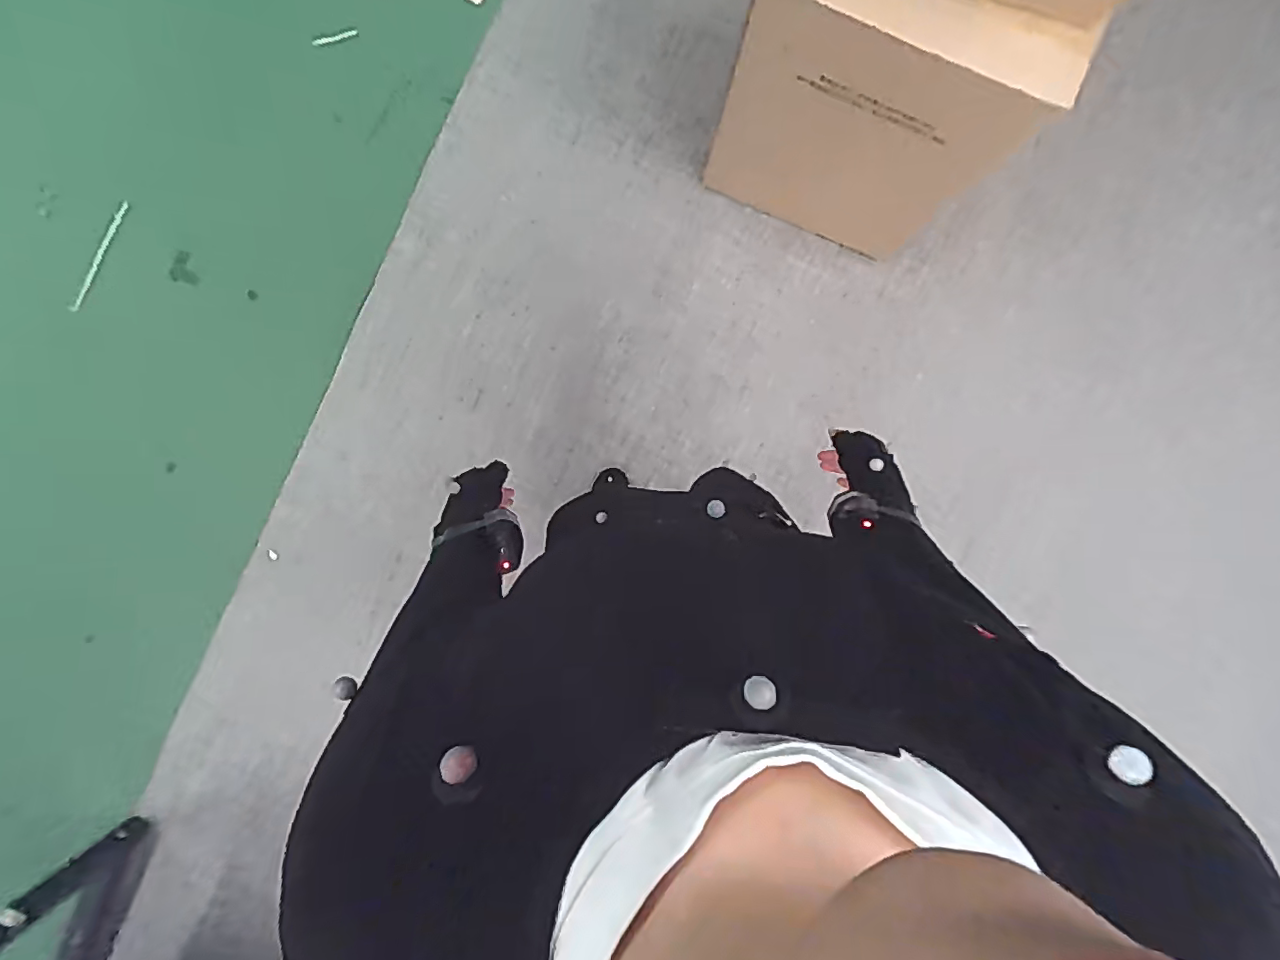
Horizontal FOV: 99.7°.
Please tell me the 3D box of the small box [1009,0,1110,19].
[{"bbox_3d":[0.630,-0.792,0.743,0.179,0.176,0.168,14,92,-1],"label":"small box"}]
